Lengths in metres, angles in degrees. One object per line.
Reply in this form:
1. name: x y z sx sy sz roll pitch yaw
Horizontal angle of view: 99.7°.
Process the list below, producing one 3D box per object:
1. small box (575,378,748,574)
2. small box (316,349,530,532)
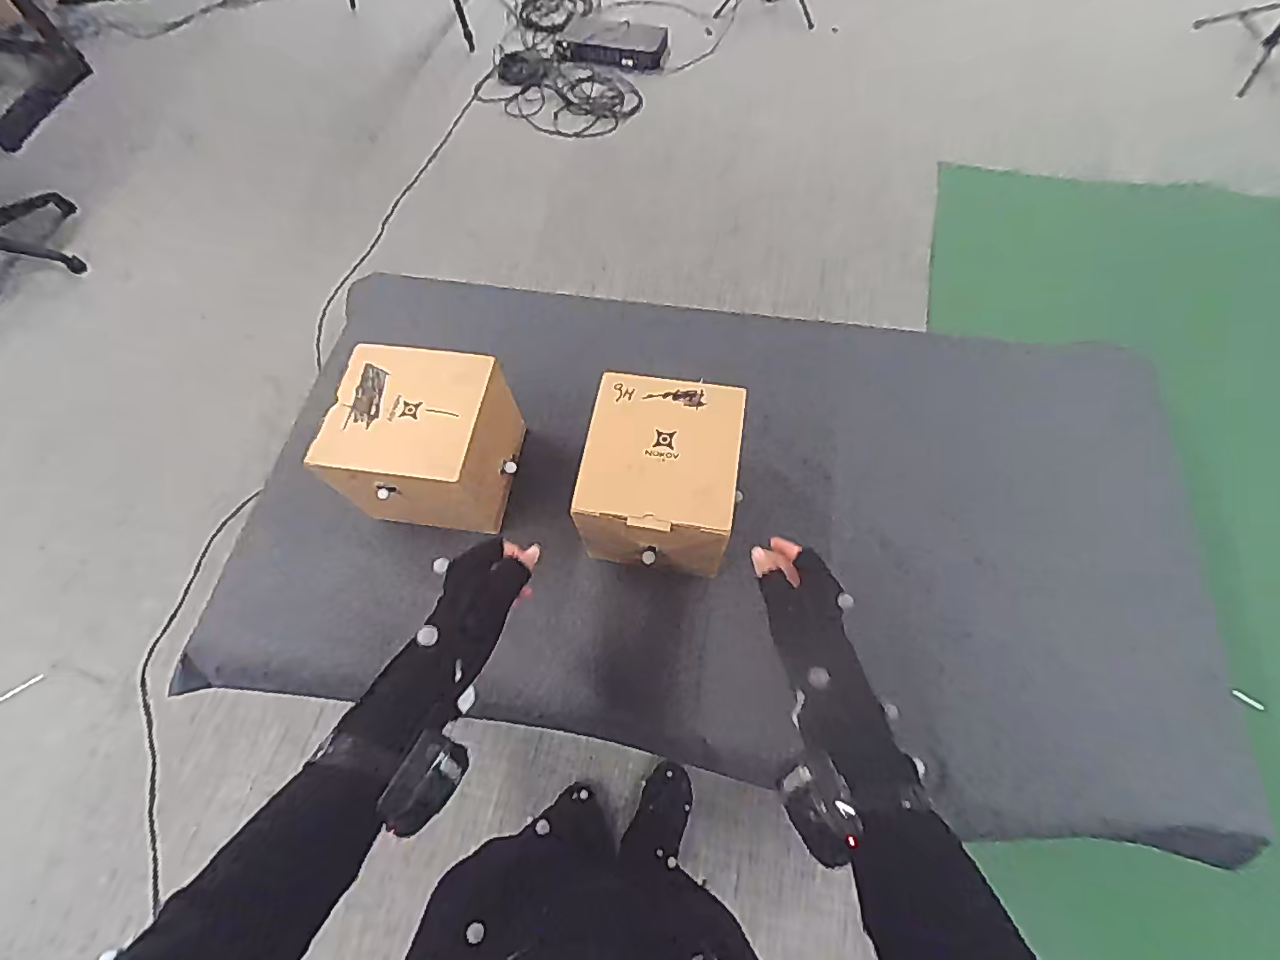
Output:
1. small box: 0.031 0.003 0.654 0.168 0.176 0.179 8 66 7
2. small box: -0.256 -0.043 0.688 0.179 0.176 0.168 7 66 5
